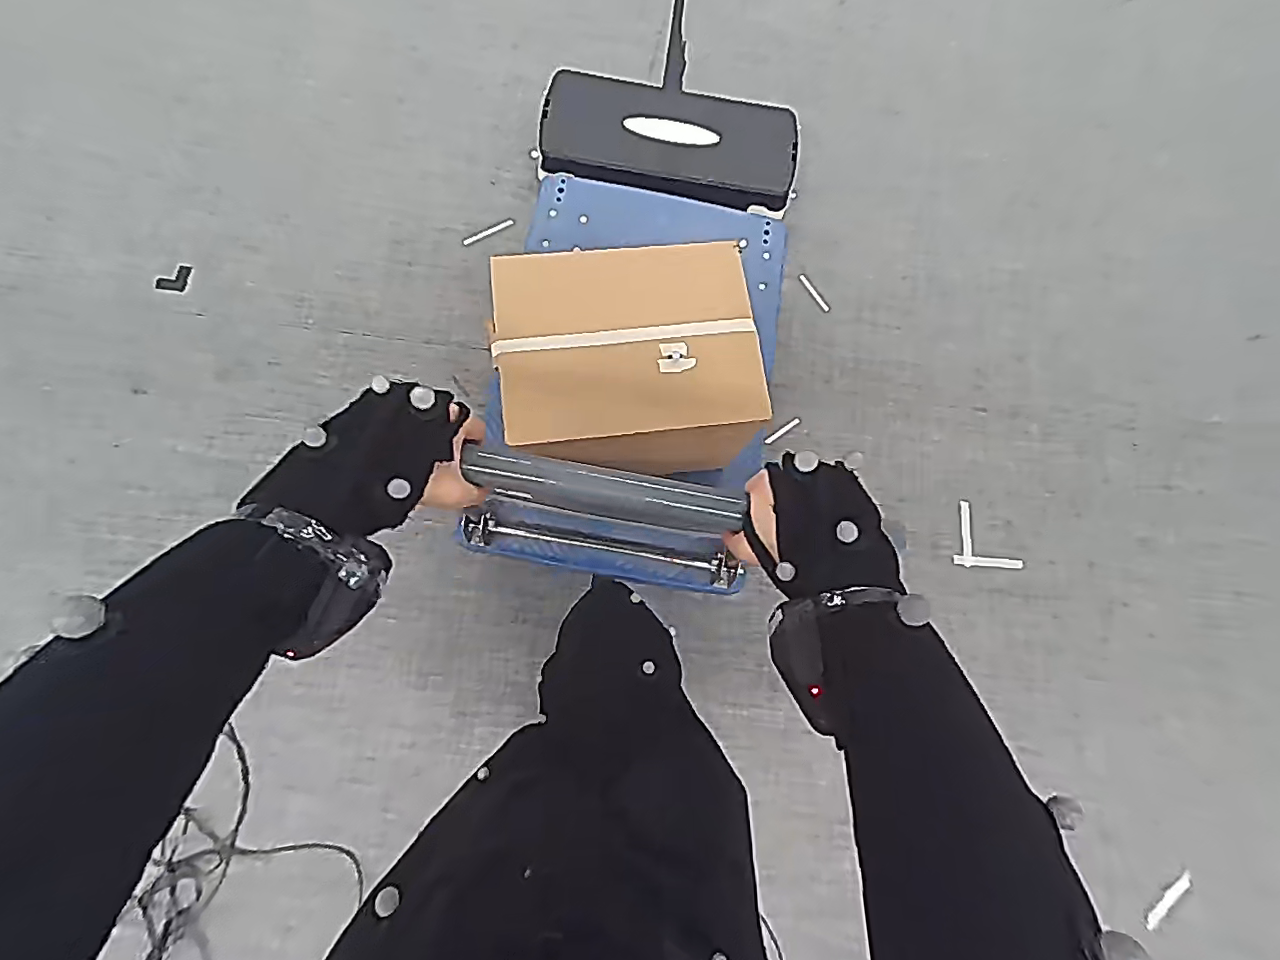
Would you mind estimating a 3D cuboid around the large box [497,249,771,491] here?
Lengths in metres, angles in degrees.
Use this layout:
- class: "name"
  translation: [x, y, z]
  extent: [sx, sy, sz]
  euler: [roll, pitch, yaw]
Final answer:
- class: "large box"
  translation: [-0.026, -0.180, 0.990]
  extent: [0.408, 0.320, 0.320]
  euler: [-6, 78, -7]
